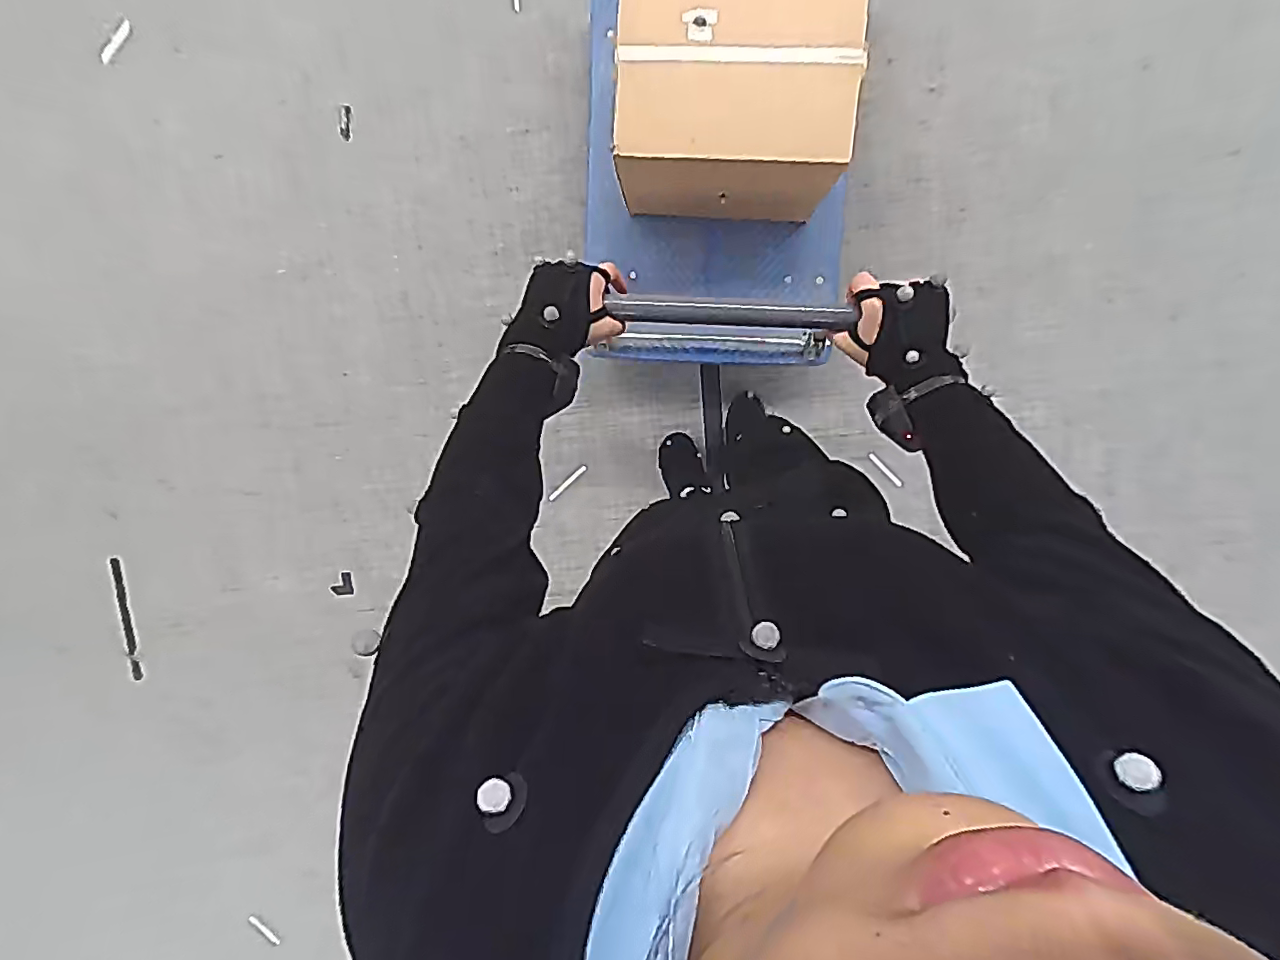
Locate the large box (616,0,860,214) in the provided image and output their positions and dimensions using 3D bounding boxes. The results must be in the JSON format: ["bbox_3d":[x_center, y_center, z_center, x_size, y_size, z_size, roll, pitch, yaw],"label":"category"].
[{"bbox_3d":[0.176,-0.732,1.060,0.408,0.320,0.320,4,98,5],"label":"large box"}]
